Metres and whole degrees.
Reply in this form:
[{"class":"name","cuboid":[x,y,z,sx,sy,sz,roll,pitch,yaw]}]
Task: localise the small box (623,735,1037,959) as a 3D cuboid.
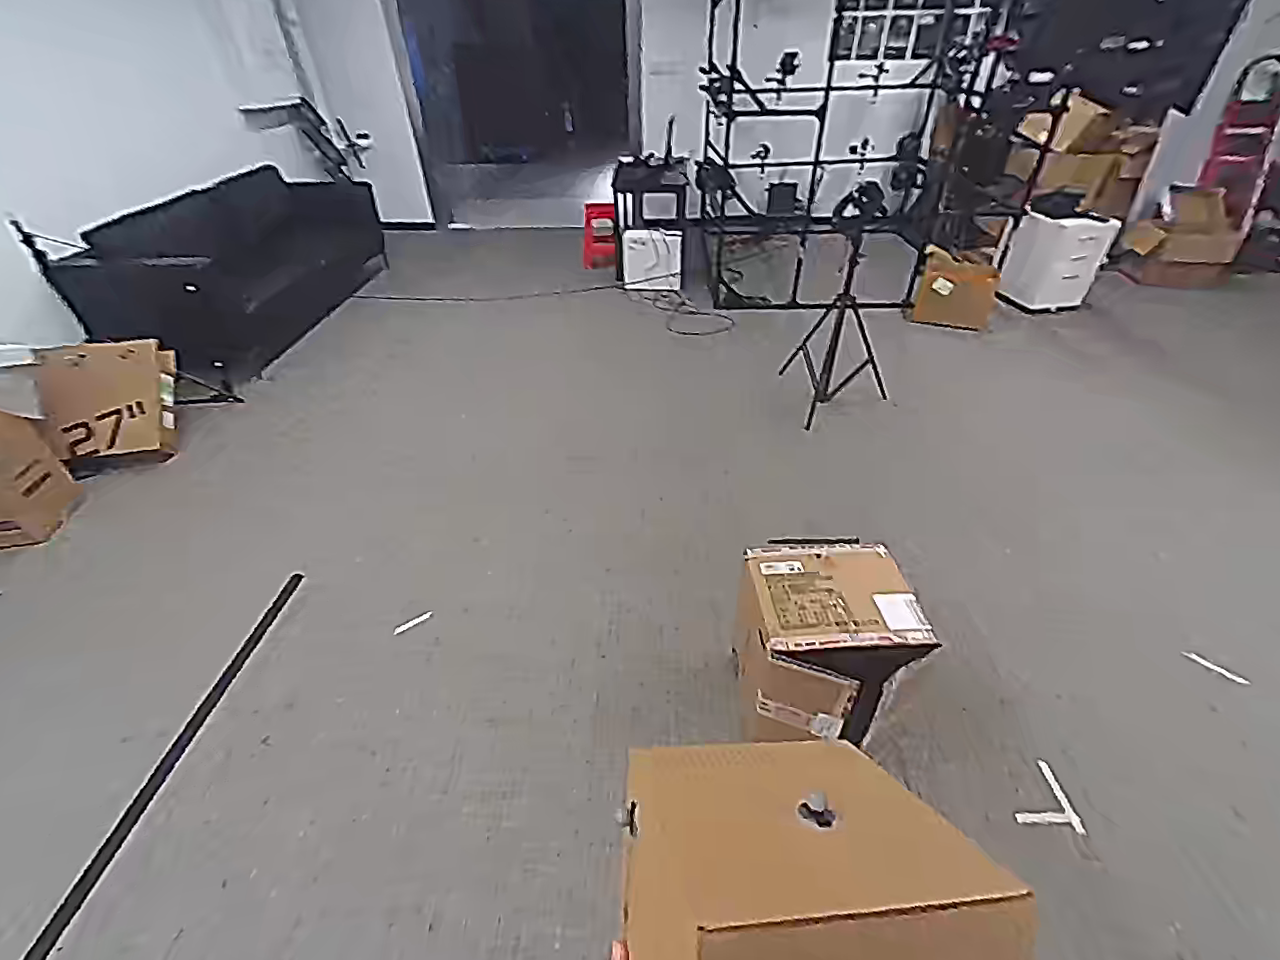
[{"class":"small box","cuboid":[0.089,0.272,0.326,0.179,0.168,0.176,4,-1,-12]}]
